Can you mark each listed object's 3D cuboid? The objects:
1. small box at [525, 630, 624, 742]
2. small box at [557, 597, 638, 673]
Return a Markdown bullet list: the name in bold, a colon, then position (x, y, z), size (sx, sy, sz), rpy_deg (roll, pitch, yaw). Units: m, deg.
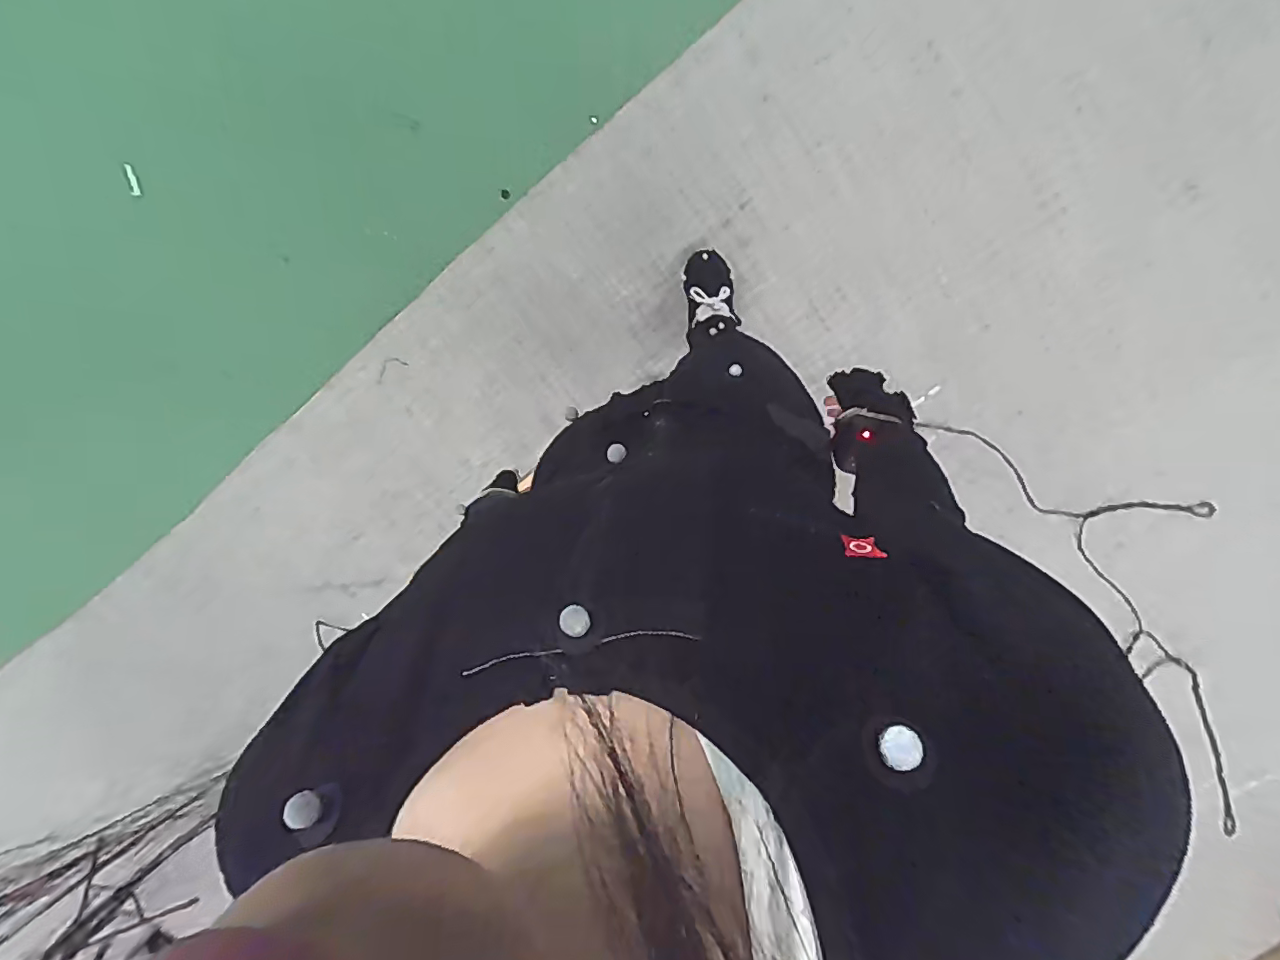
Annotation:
- **small box**: position (-0.160, 0.526, 1.397), size (0.179, 0.176, 0.168), rpy_deg (-38, 99, 14)
- **small box**: position (-0.120, 0.468, 1.547), size (0.179, 0.176, 0.168), rpy_deg (-41, 98, 15)
